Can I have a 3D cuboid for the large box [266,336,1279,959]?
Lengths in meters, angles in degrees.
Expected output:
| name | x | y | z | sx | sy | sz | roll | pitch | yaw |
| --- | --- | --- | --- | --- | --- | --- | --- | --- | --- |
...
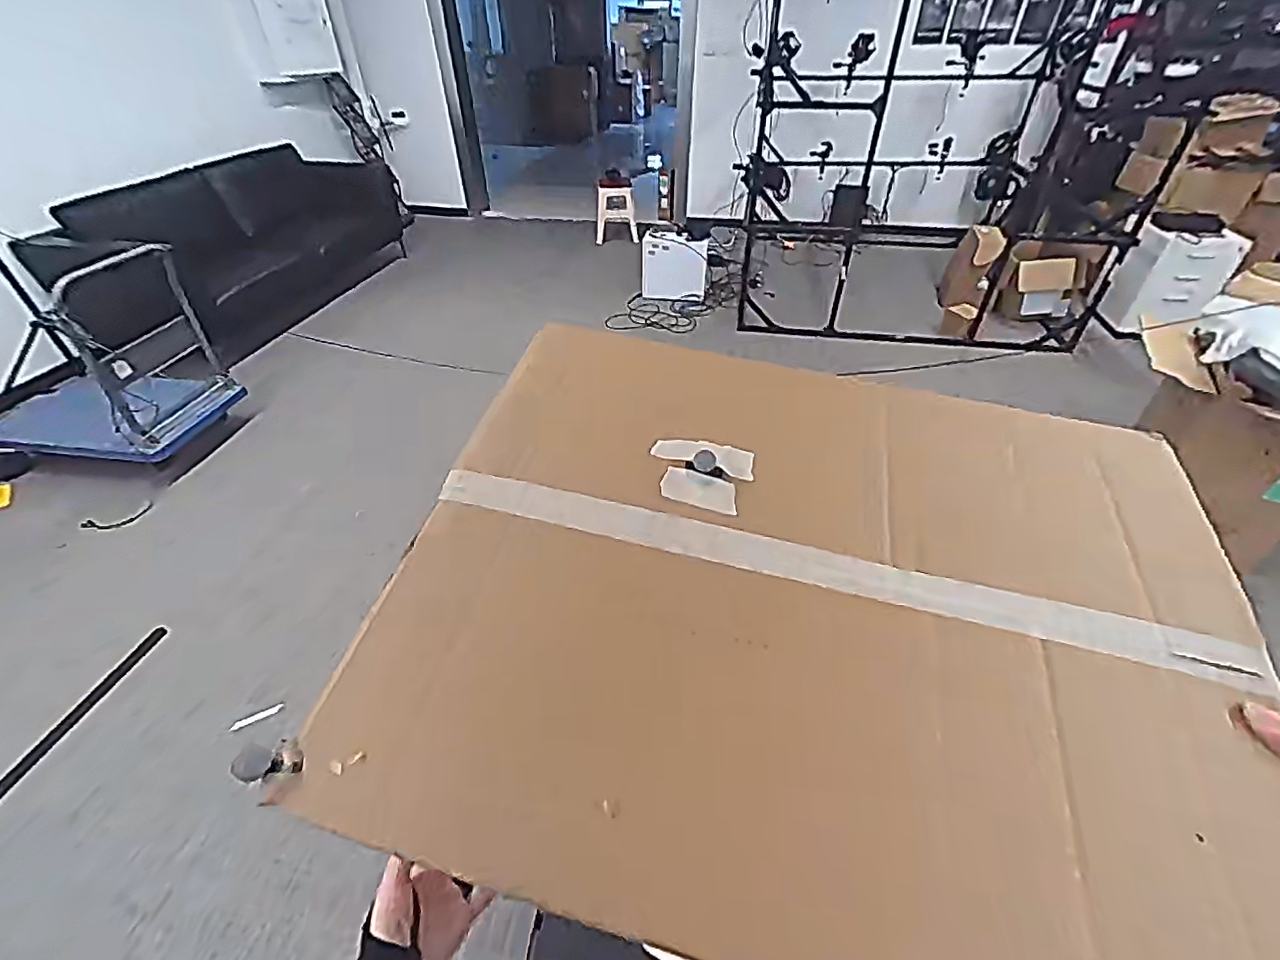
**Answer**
| name | x | y | z | sx | sy | sz | roll | pitch | yaw |
| --- | --- | --- | --- | --- | --- | --- | --- | --- | --- |
| large box | 0.085 | 0.140 | 0.383 | 0.408 | 0.320 | 0.320 | 11 | 52 | 9 |
